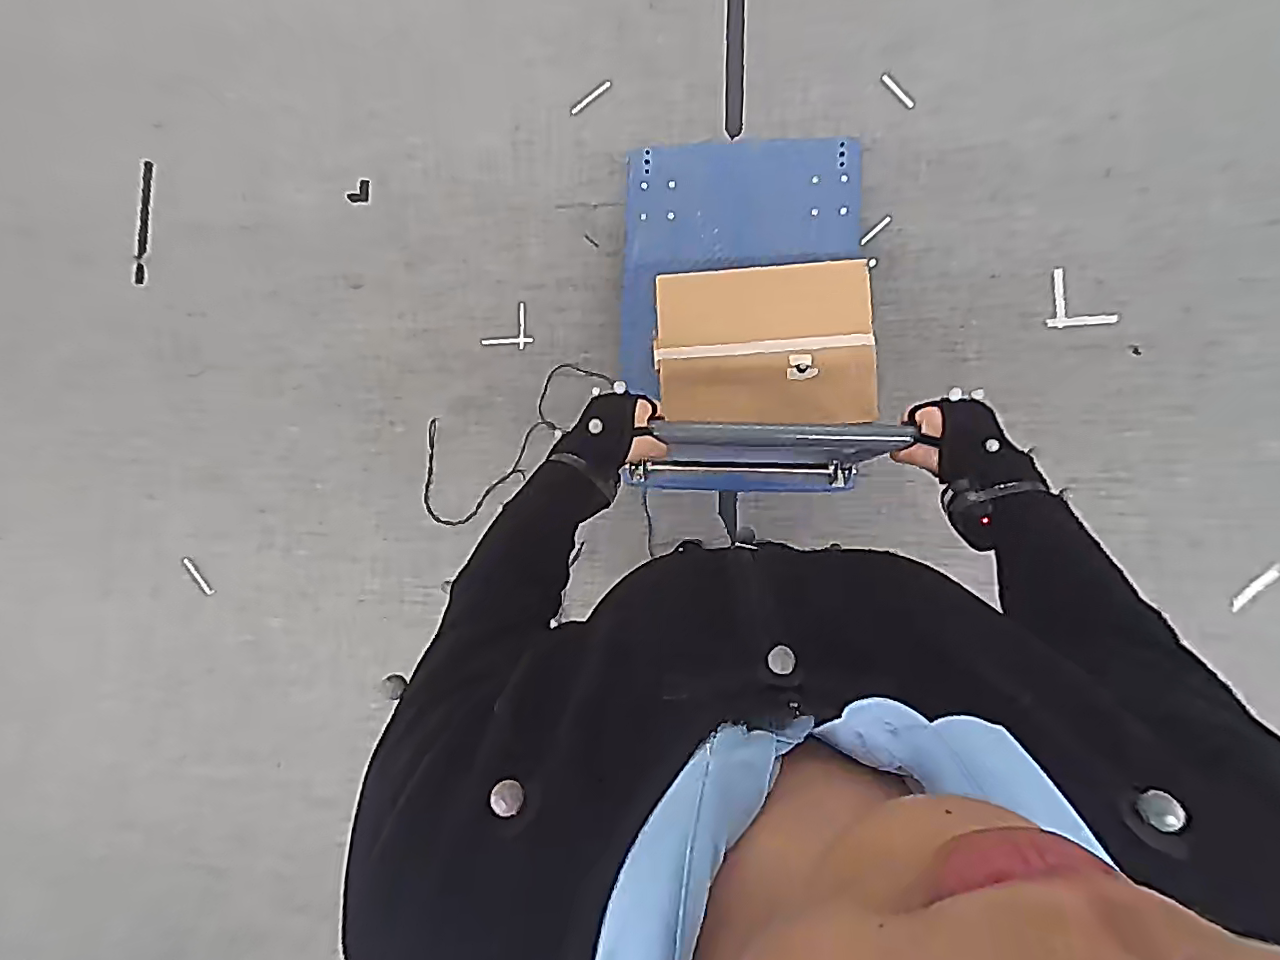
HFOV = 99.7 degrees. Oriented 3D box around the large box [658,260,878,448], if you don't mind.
[{"bbox_3d":[0.253,-0.249,1.187,0.408,0.320,0.320,-3,88,4],"label":"large box"}]
